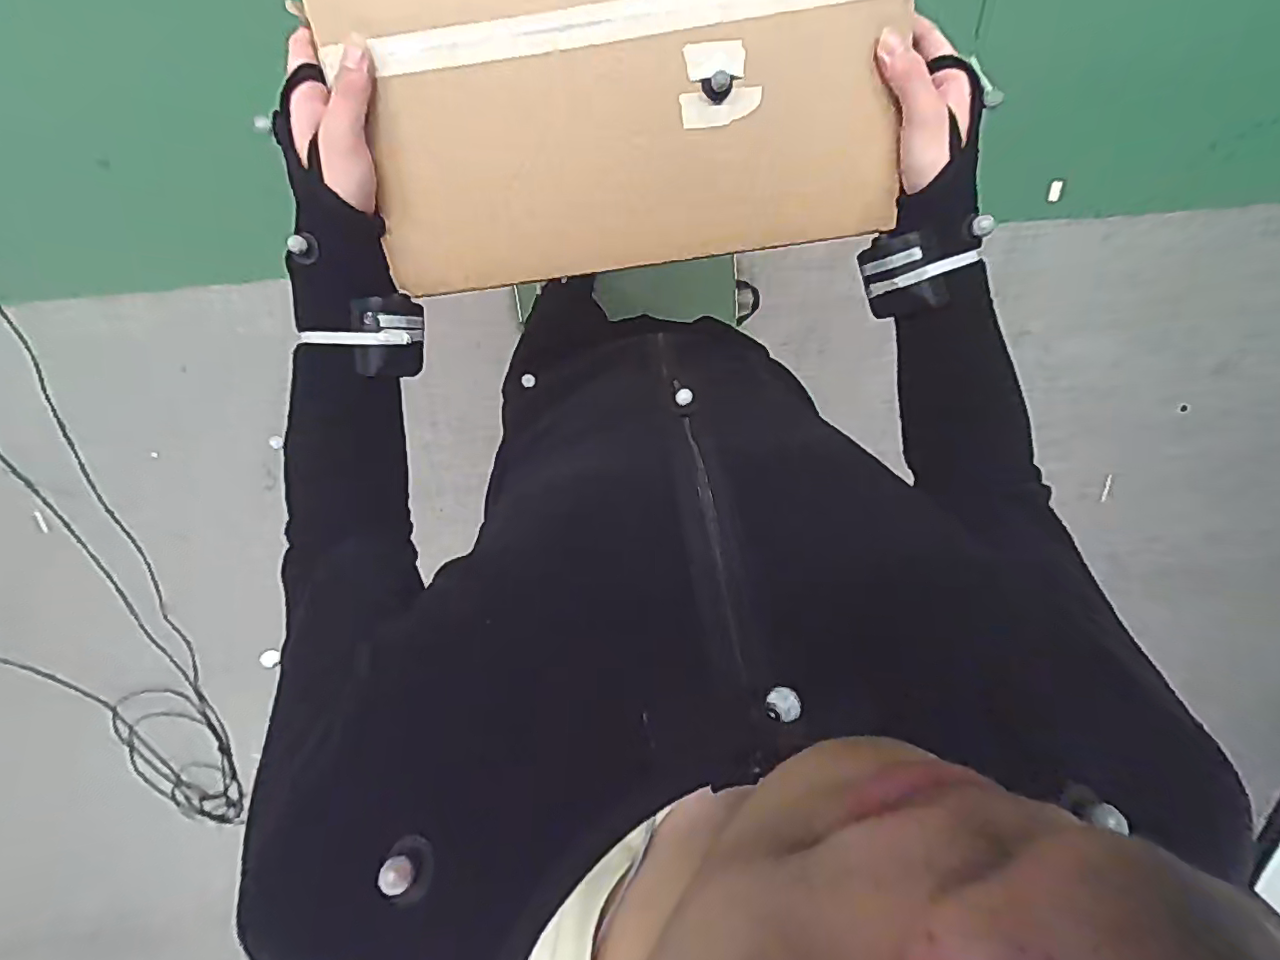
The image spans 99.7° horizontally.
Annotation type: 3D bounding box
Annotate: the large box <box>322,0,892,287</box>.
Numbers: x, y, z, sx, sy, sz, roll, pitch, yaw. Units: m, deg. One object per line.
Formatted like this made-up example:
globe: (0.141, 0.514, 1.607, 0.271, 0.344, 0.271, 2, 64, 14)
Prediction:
large box: (-0.026, -0.388, 0.517, 0.408, 0.320, 0.320, -8, 116, 1)
